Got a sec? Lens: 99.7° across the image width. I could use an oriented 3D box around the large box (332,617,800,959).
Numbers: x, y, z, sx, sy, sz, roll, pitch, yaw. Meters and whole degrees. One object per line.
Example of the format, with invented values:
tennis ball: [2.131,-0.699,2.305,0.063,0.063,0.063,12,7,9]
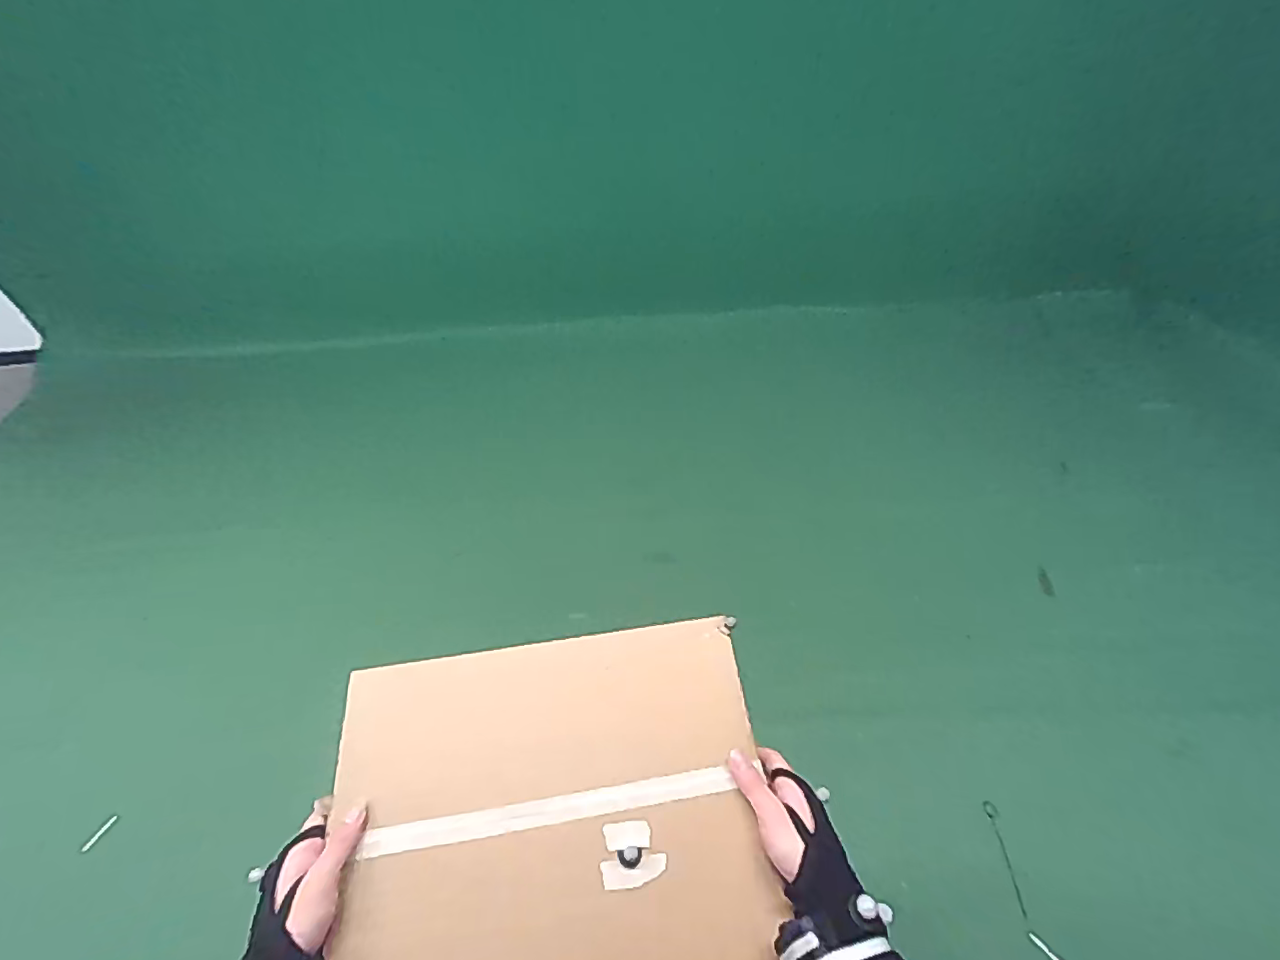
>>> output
large box: [-0.085,0.391,0.646,0.408,0.320,0.320,-7,59,-7]
